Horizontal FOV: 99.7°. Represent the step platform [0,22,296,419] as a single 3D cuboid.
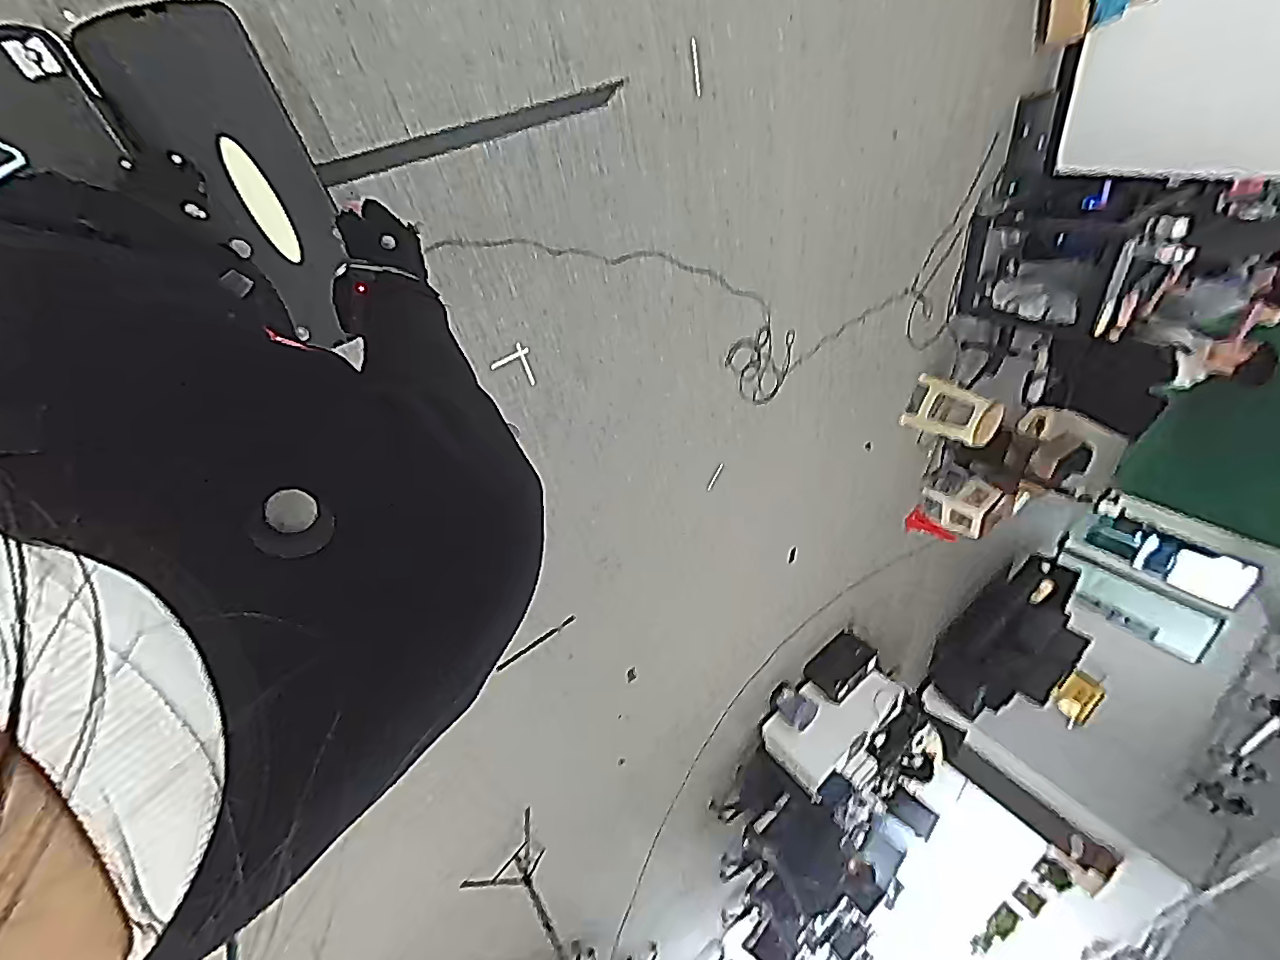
[{"bbox_3d":[-1.016,-0.460,1.073,0.286,0.204,0.684,-34,132,-21],"label":"step platform"}]
